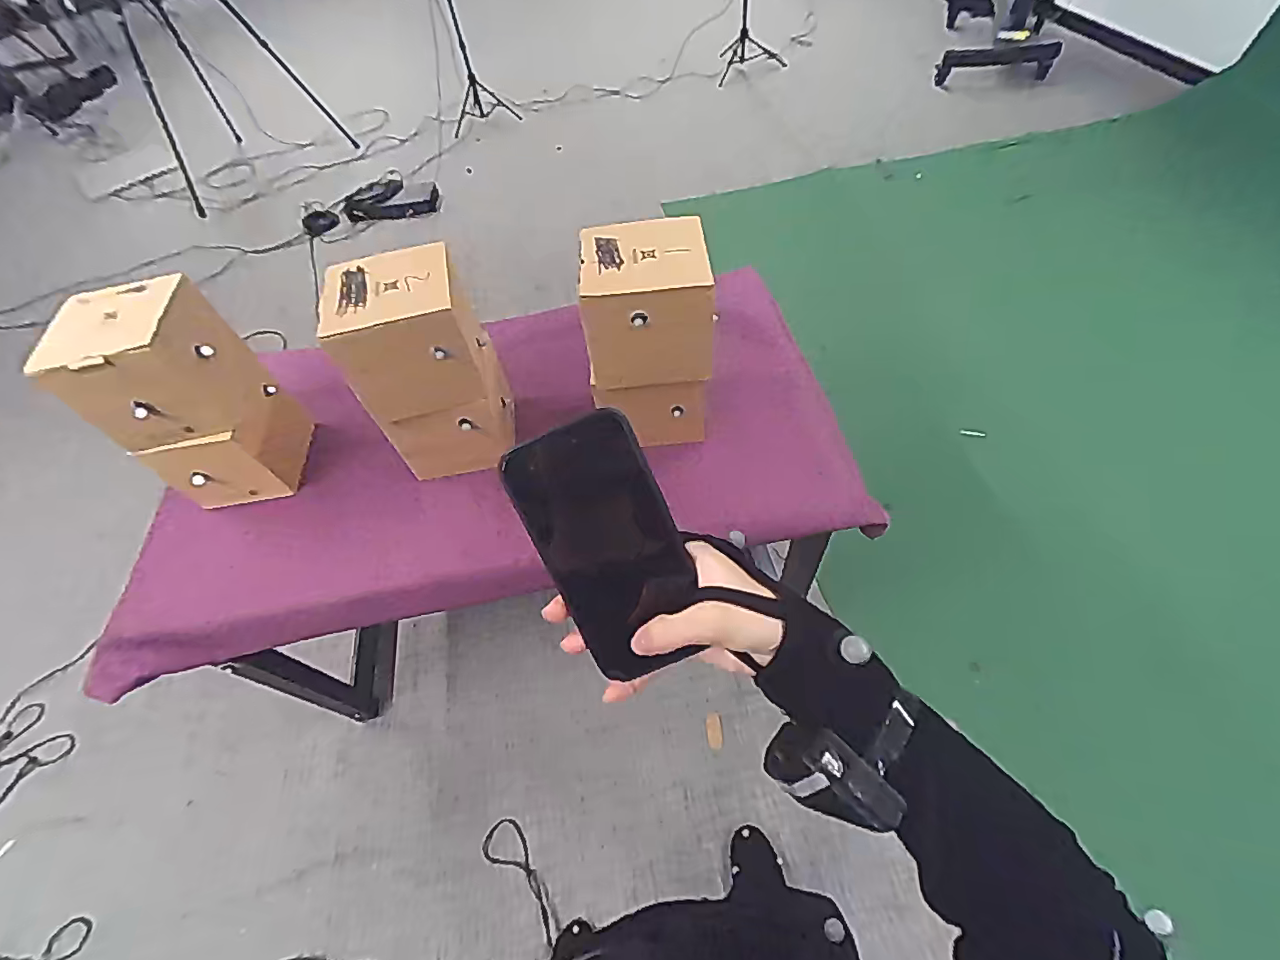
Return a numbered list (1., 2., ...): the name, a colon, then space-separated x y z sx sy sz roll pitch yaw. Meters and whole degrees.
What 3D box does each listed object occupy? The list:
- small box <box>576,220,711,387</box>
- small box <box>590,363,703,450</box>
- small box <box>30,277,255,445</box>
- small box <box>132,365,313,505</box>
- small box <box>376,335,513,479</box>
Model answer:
1. small box: 0.009 -0.253 0.796 0.179 0.176 0.168 -5 54 2
2. small box: 0.014 -0.169 0.938 0.179 0.176 0.168 -5 54 4
3. small box: -0.728 -0.171 0.821 0.168 0.176 0.179 -13 55 -4
4. small box: -0.712 -0.070 0.950 0.168 0.176 0.179 -10 54 0
5. small box: -0.324 -0.122 0.941 0.179 0.176 0.168 -10 54 -1
